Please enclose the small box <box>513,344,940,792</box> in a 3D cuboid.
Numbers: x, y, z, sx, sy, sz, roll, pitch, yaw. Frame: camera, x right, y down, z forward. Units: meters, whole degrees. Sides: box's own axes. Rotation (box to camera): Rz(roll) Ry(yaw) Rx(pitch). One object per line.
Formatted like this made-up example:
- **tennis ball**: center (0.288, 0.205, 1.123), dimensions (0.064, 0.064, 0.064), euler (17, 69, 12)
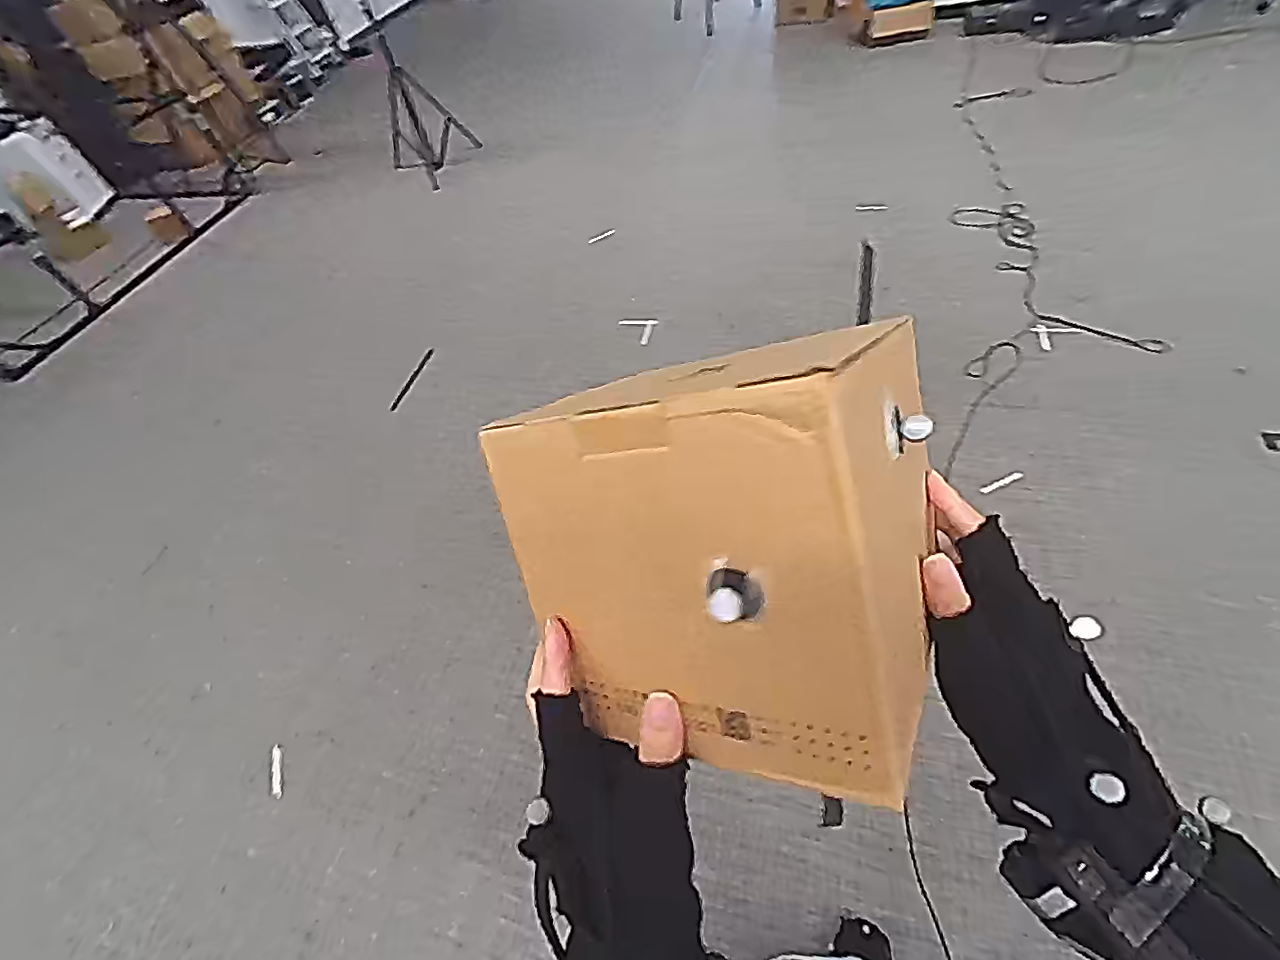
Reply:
- **small box**: center (0.064, 0.033, 0.307), dimensions (0.168, 0.176, 0.179), euler (-4, 16, 35)
